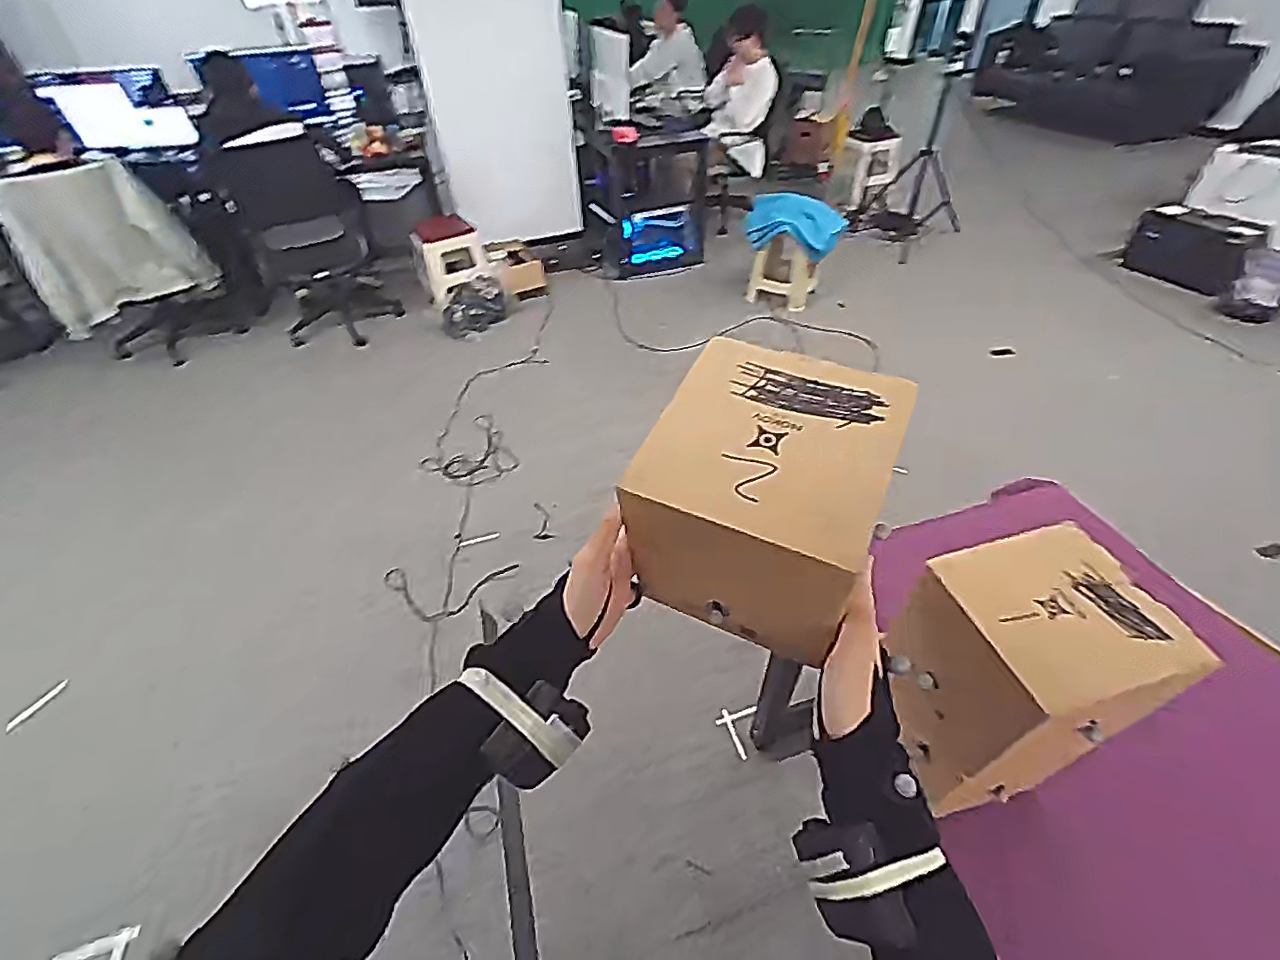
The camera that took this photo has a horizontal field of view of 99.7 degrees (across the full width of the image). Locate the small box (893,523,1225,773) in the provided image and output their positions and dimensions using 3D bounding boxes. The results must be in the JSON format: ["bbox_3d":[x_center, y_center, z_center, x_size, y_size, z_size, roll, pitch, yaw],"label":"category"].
[{"bbox_3d":[0.399,0.173,0.558,0.179,0.176,0.168,-12,45,-8],"label":"small box"}]

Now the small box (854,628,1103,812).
[{"bbox_3d":[0.397,0.289,0.674,0.168,0.176,0.179,-11,45,-8],"label":"small box"}]
